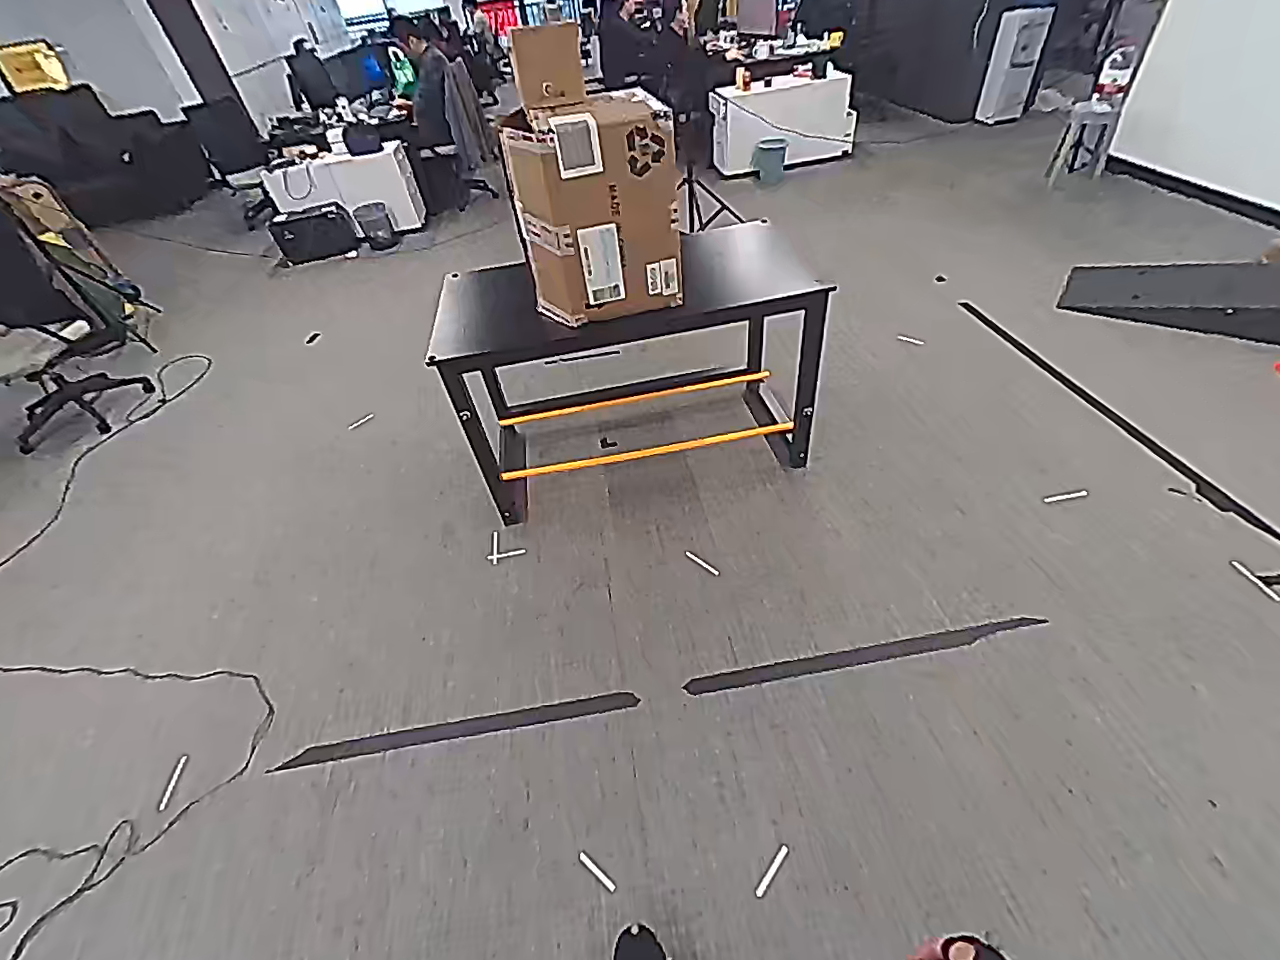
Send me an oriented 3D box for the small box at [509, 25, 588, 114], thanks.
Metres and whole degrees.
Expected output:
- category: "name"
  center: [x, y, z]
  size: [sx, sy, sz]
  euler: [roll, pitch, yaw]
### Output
- category: "small box"
  center: [-0.241, -1.080, 1.425]
  size: [0.168, 0.176, 0.179]
  euler: [-14, 42, -7]
